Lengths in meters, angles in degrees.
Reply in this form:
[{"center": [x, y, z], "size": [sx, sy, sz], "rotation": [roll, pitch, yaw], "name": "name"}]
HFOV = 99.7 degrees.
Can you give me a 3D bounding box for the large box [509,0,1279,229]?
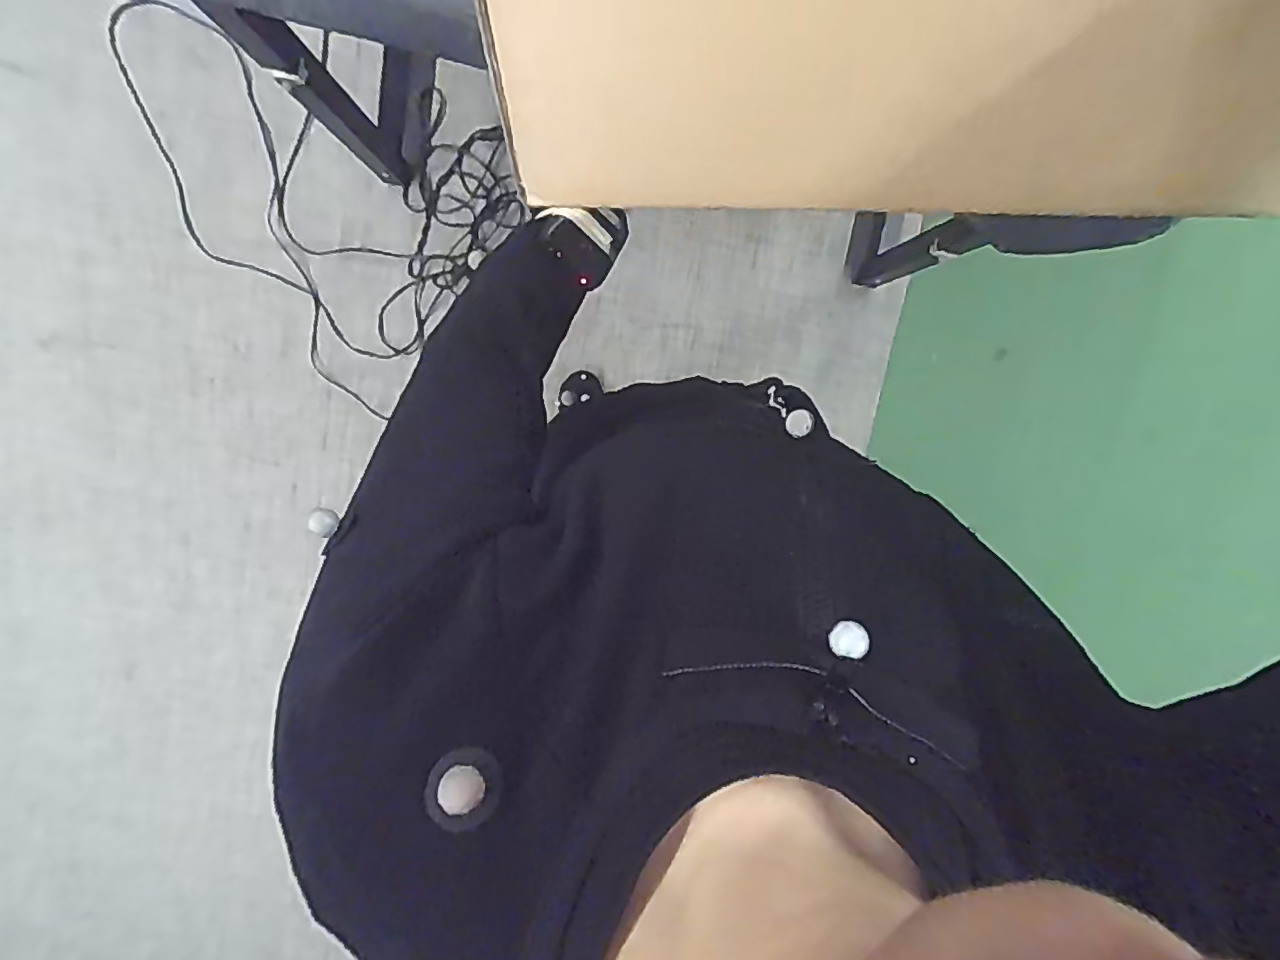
[{"center": [0.159, -0.337, 0.261], "size": [0.408, 0.320, 0.320], "rotation": [4, 134, 11], "name": "large box"}]
